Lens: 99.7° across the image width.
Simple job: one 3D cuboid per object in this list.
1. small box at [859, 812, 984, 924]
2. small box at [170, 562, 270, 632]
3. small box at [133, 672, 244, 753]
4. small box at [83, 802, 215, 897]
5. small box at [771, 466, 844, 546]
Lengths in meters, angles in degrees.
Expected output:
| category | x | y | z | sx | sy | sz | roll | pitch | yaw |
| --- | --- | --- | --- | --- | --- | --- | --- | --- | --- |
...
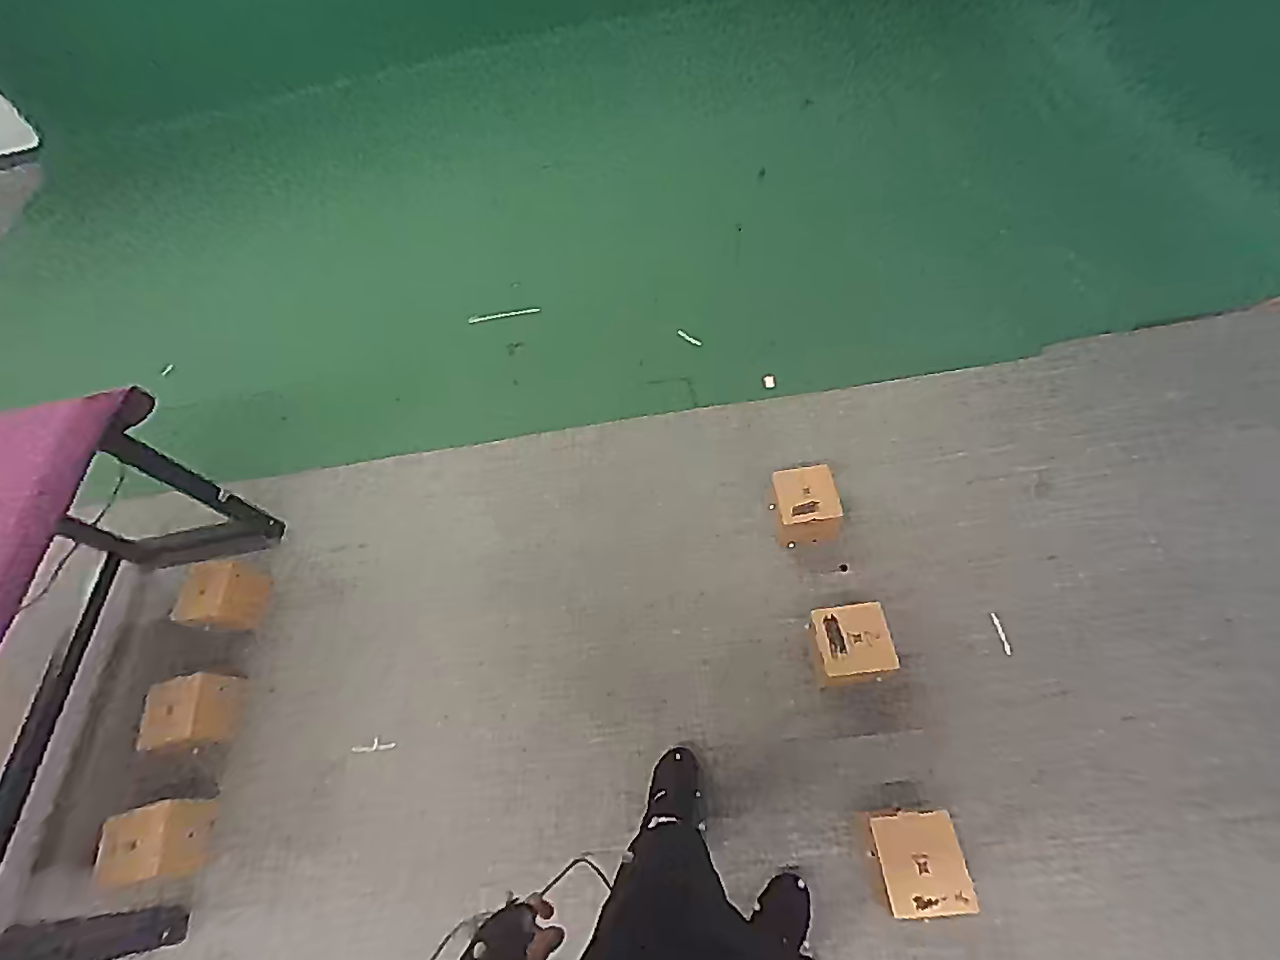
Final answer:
| category | x | y | z | sx | sy | sz | roll | pitch | yaw |
| --- | --- | --- | --- | --- | --- | --- | --- | --- | --- |
| small box | 0.584 | 0.816 | 1.150 | 0.168 | 0.176 | 0.179 | -9 | 59 | 5 |
| small box | -1.338 | 0.382 | 1.738 | 0.168 | 0.176 | 0.179 | -9 | 59 | 5 |
| small box | -1.290 | 0.674 | 1.561 | 0.168 | 0.176 | 0.179 | -15 | 60 | 2 |
| small box | -1.253 | 0.945 | 1.398 | 0.179 | 0.176 | 0.168 | -16 | 59 | 1 |
| small box | 0.484 | 0.084 | 1.588 | 0.168 | 0.176 | 0.179 | -8 | 58 | 5 |
